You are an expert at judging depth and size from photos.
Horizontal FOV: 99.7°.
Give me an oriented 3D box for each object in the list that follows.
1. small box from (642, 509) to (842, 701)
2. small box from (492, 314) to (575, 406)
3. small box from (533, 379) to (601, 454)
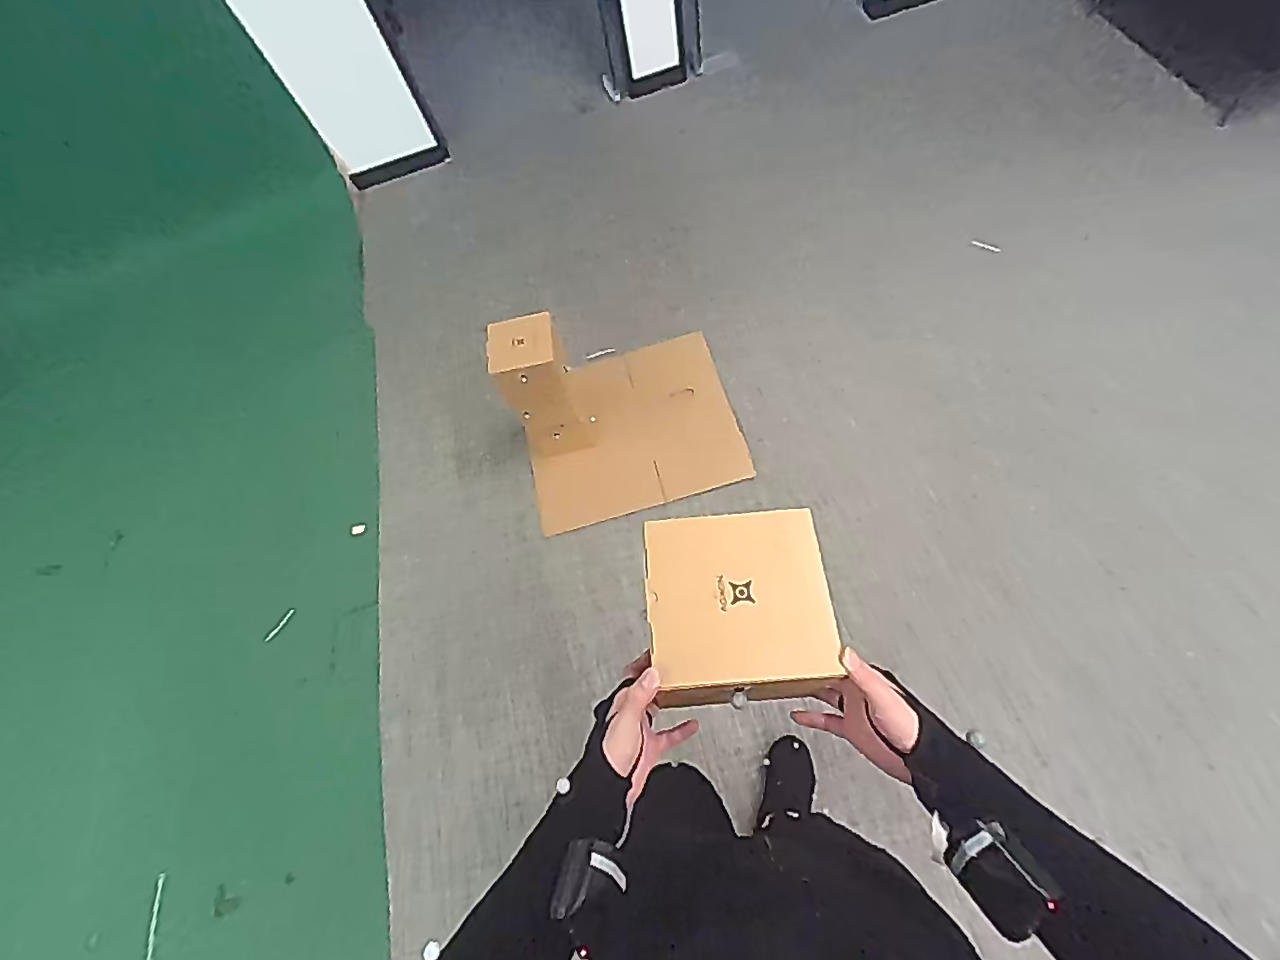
[{"bbox_3d":[0.099,0.145,0.597,0.179,0.176,0.168,-6,62,3],"label":"small box"},{"bbox_3d":[-0.289,-0.322,1.483,0.179,0.176,0.168,-10,65,6],"label":"small box"},{"bbox_3d":[-0.240,-0.202,1.784,0.179,0.176,0.168,-12,64,5],"label":"small box"}]
